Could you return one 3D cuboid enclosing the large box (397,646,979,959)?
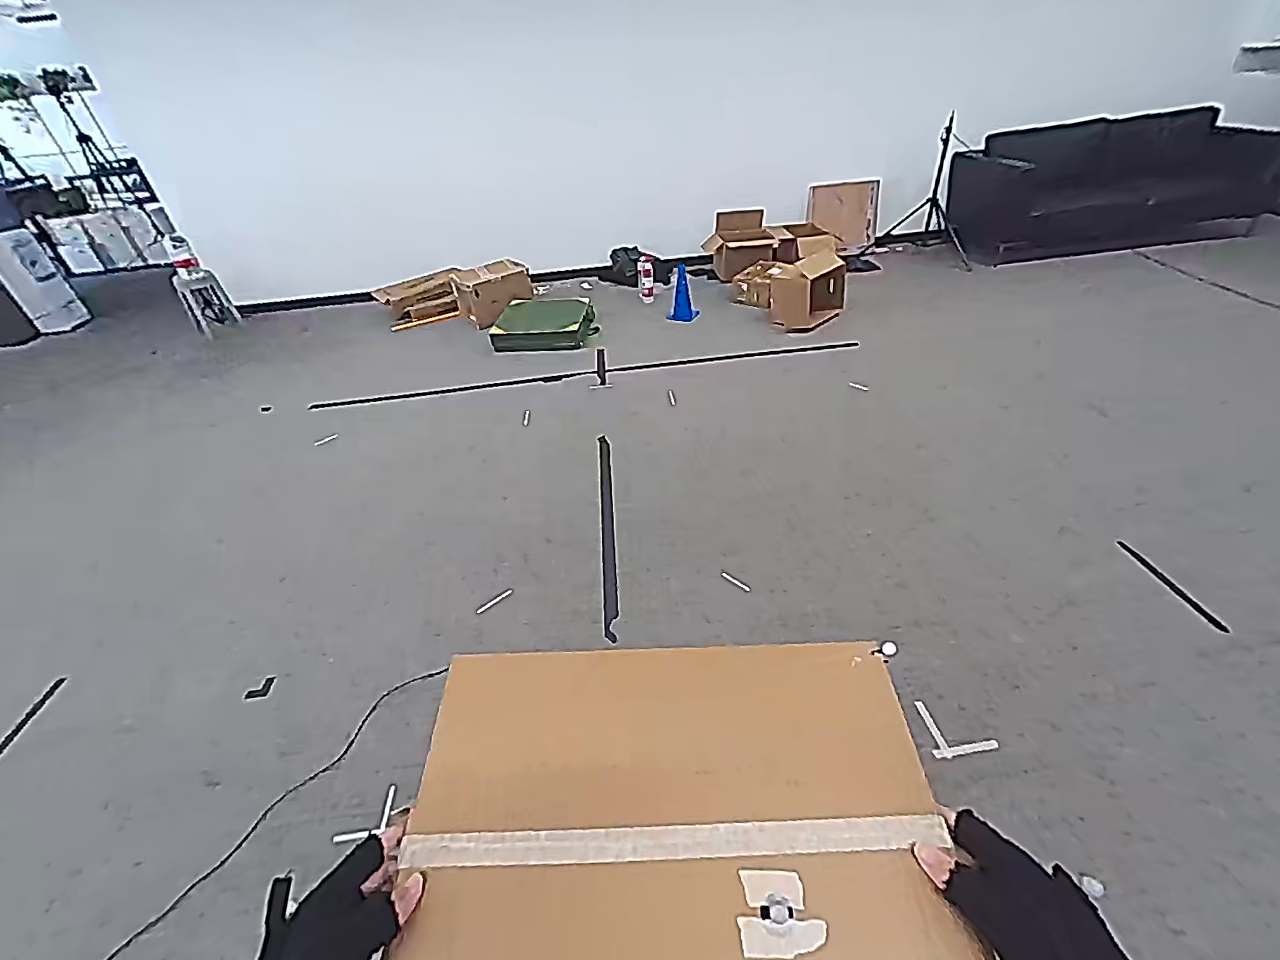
[{"bbox_3d":[0.030,0.383,0.519,0.408,0.320,0.320,-2,45,-1],"label":"large box"}]
